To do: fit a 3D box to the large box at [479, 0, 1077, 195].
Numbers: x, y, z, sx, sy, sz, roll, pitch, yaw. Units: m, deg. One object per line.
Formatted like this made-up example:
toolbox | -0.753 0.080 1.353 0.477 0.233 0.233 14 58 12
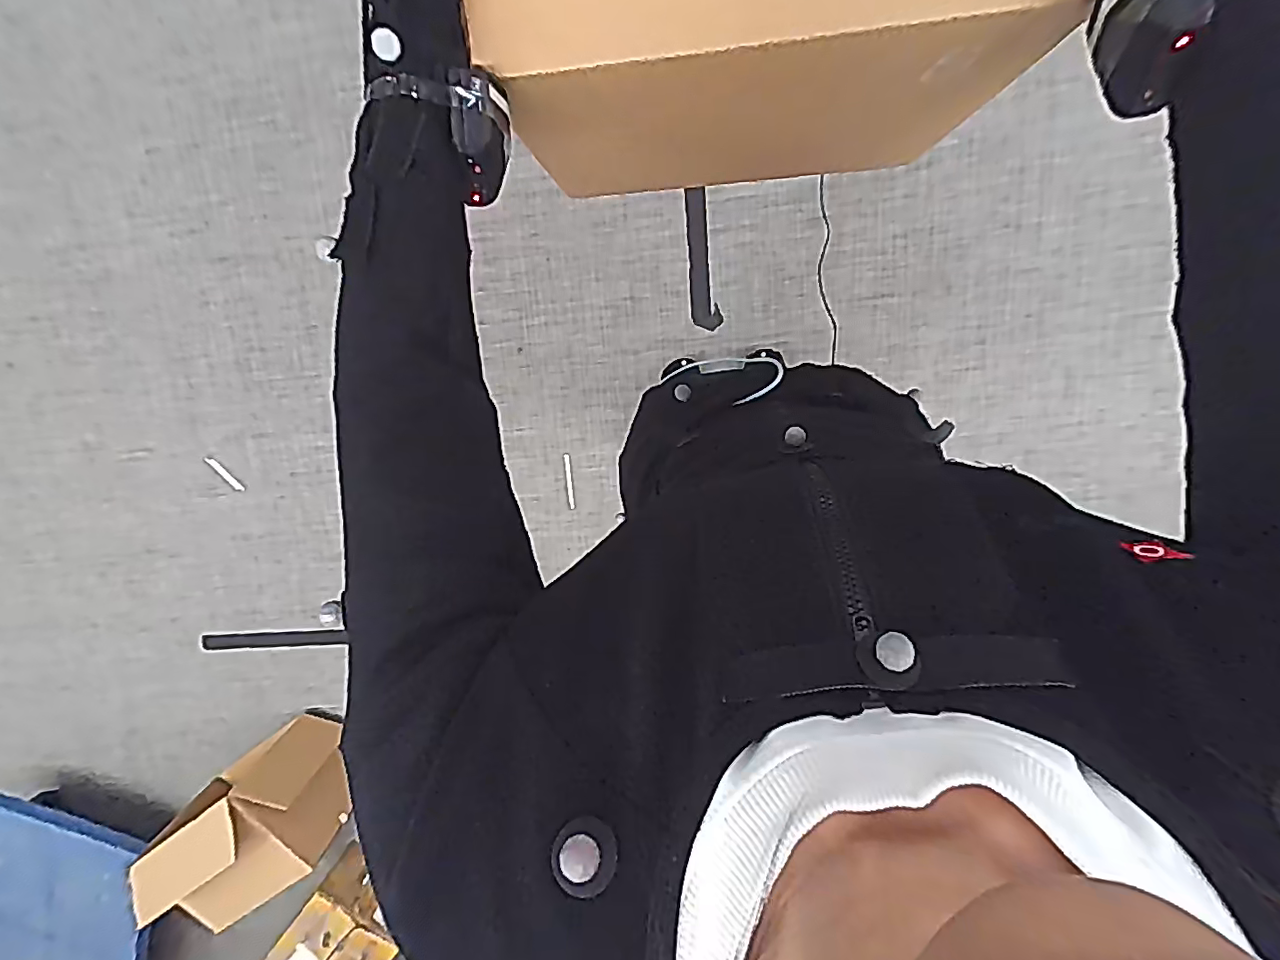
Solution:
large box | 0.088 -0.472 0.462 0.408 0.320 0.320 -4 104 5
